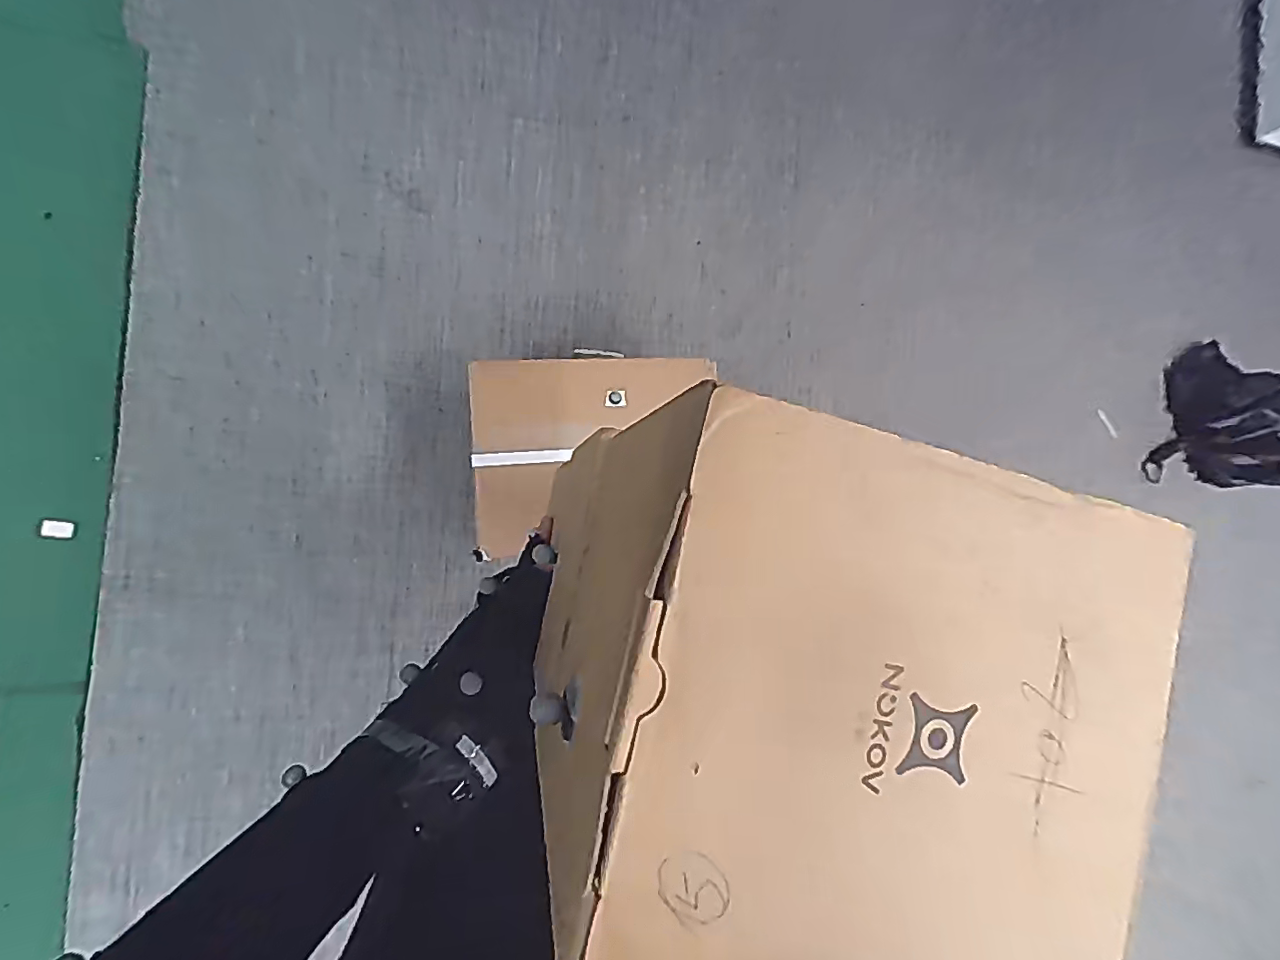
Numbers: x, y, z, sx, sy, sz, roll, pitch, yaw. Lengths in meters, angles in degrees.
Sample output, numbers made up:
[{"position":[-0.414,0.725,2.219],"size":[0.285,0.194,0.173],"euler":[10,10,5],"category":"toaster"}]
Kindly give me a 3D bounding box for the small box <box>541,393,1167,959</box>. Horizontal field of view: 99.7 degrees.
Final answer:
[{"position":[0.060,0.076,0.235],"size":[0.179,0.176,0.168],"euler":[13,86,-13],"category":"small box"}]

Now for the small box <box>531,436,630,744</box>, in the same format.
[{"position":[0.020,0.077,0.392],"size":[0.168,0.176,0.179],"euler":[11,86,-12],"category":"small box"}]
